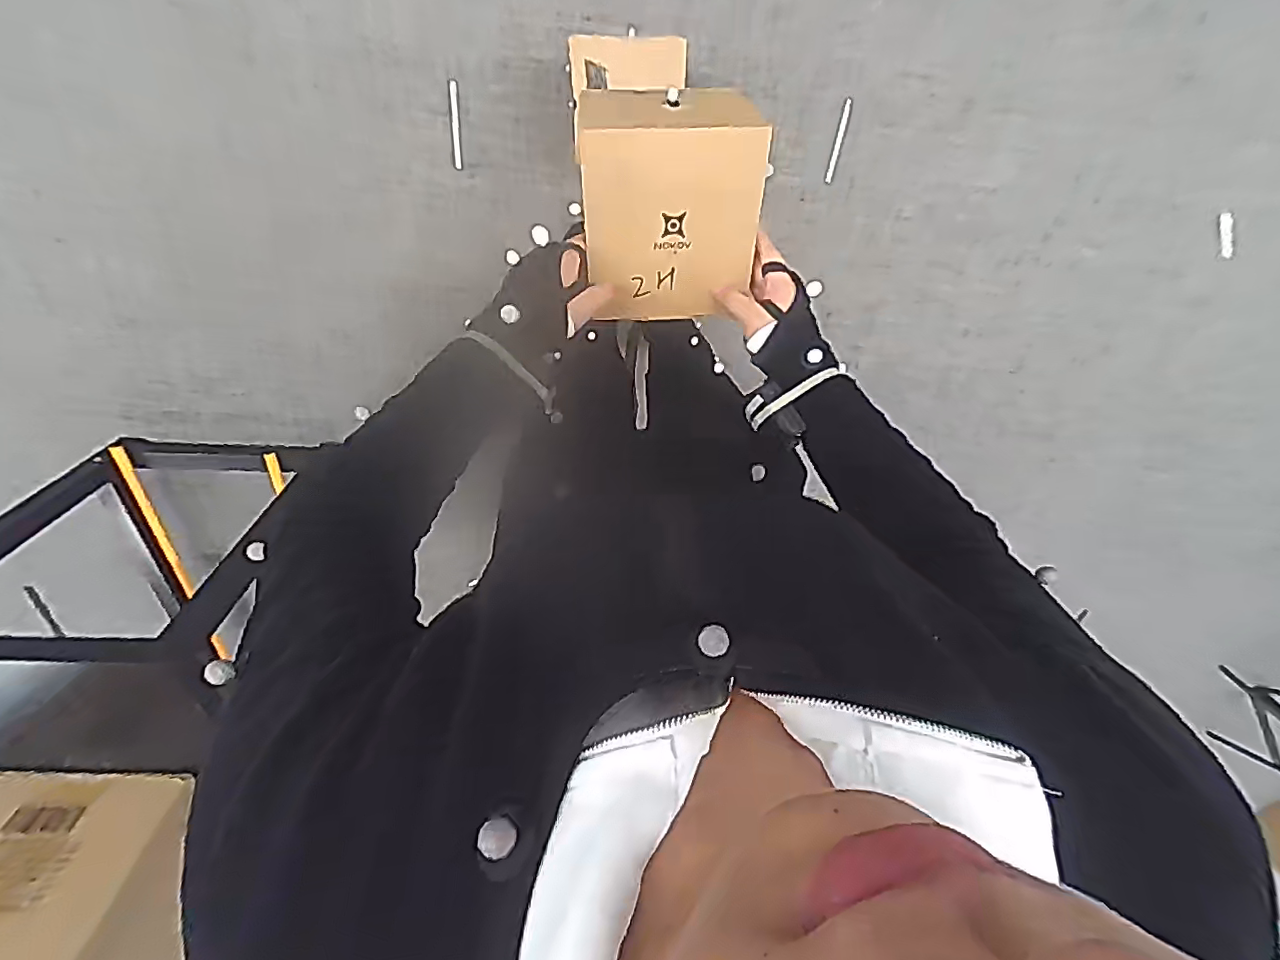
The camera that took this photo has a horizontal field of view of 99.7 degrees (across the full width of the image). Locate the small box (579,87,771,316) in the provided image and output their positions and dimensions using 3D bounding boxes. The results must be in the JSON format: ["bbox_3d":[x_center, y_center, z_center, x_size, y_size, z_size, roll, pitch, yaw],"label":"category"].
[{"bbox_3d":[0.023,-0.292,0.563,0.168,0.176,0.179,-3,136,-3],"label":"small box"}]

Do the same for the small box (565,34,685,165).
[{"bbox_3d":[-0.025,-0.617,0.891,0.179,0.176,0.168,-1,125,-3],"label":"small box"}]
